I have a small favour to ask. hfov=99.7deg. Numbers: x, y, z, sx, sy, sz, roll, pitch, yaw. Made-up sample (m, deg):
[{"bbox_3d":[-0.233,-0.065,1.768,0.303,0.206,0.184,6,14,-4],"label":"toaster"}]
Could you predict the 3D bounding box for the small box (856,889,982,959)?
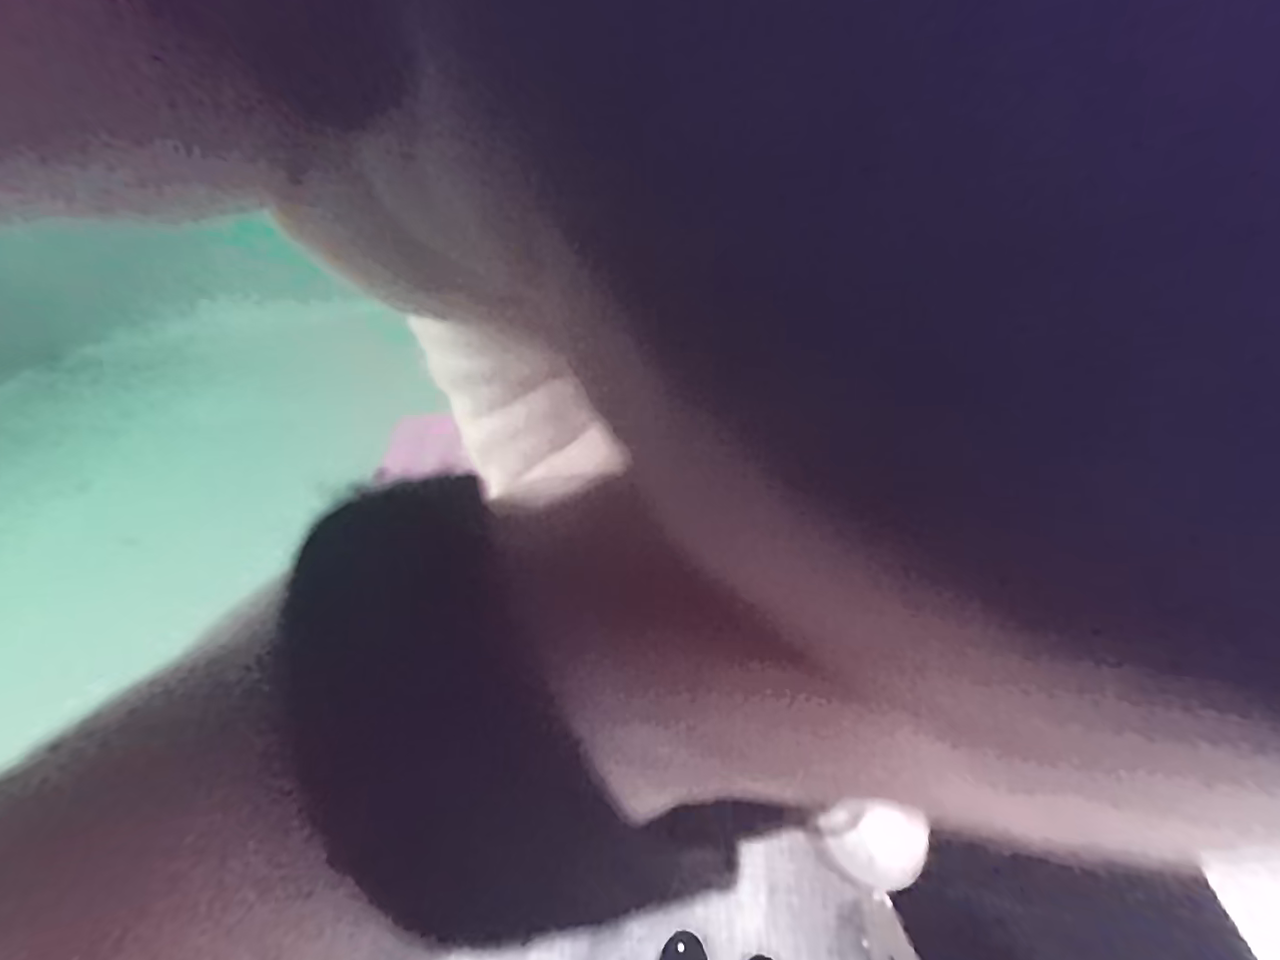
[{"bbox_3d":[0.522,0.881,1.018,0.179,0.176,0.168,-5,49,9],"label":"small box"}]
